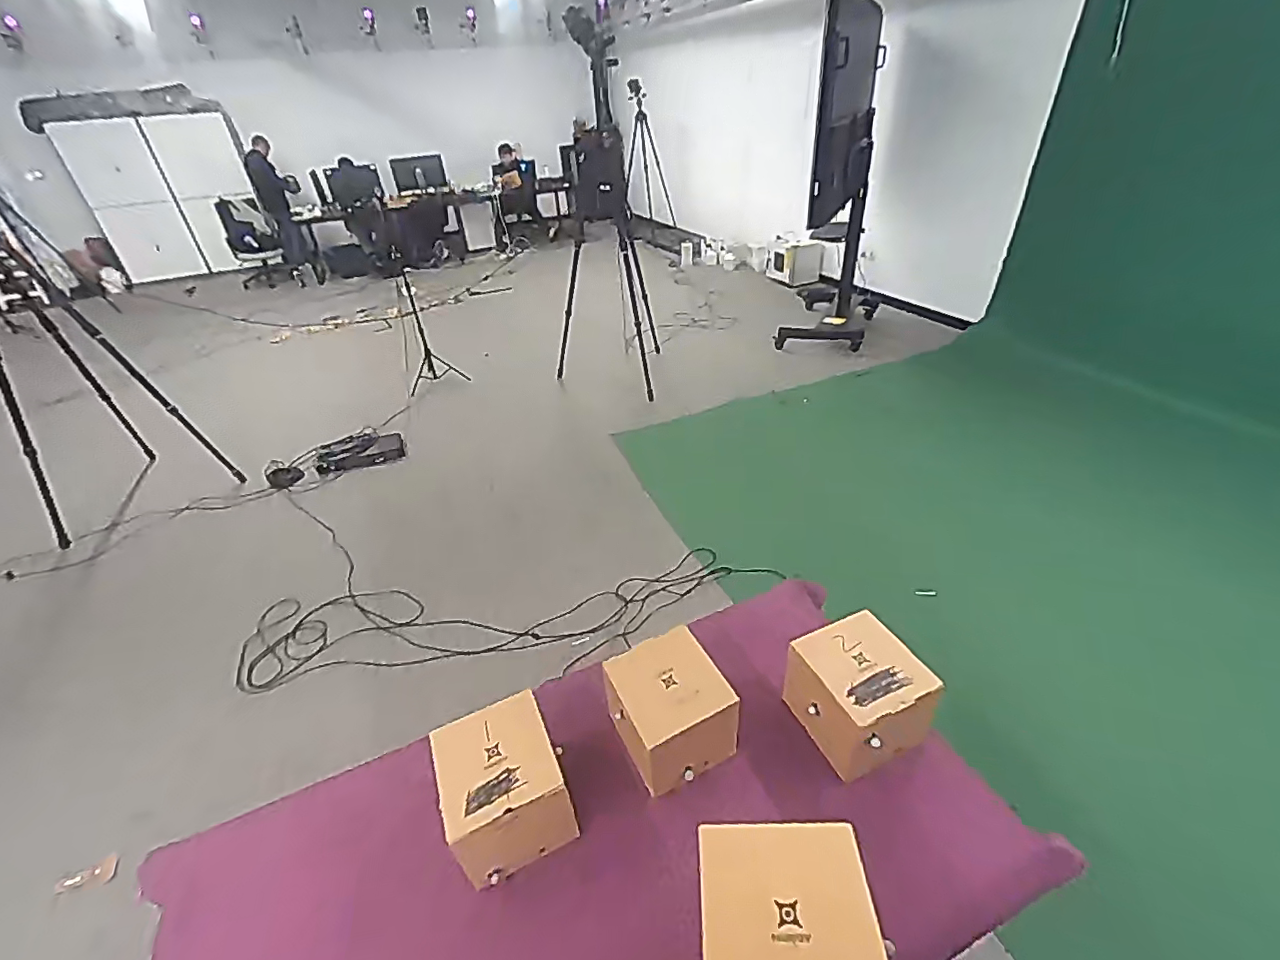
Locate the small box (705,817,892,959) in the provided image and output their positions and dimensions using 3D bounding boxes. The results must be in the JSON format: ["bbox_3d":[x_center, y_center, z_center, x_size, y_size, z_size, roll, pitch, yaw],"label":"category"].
[{"bbox_3d":[0.153,0.482,0.555,0.168,0.176,0.179,-4,32,6],"label":"small box"}]

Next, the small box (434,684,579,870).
[{"bbox_3d":[-0.205,0.465,0.843,0.168,0.176,0.179,-18,37,-19],"label":"small box"}]

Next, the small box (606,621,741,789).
[{"bbox_3d":[0.054,0.384,0.930,0.168,0.176,0.179,-19,39,-18],"label":"small box"}]
